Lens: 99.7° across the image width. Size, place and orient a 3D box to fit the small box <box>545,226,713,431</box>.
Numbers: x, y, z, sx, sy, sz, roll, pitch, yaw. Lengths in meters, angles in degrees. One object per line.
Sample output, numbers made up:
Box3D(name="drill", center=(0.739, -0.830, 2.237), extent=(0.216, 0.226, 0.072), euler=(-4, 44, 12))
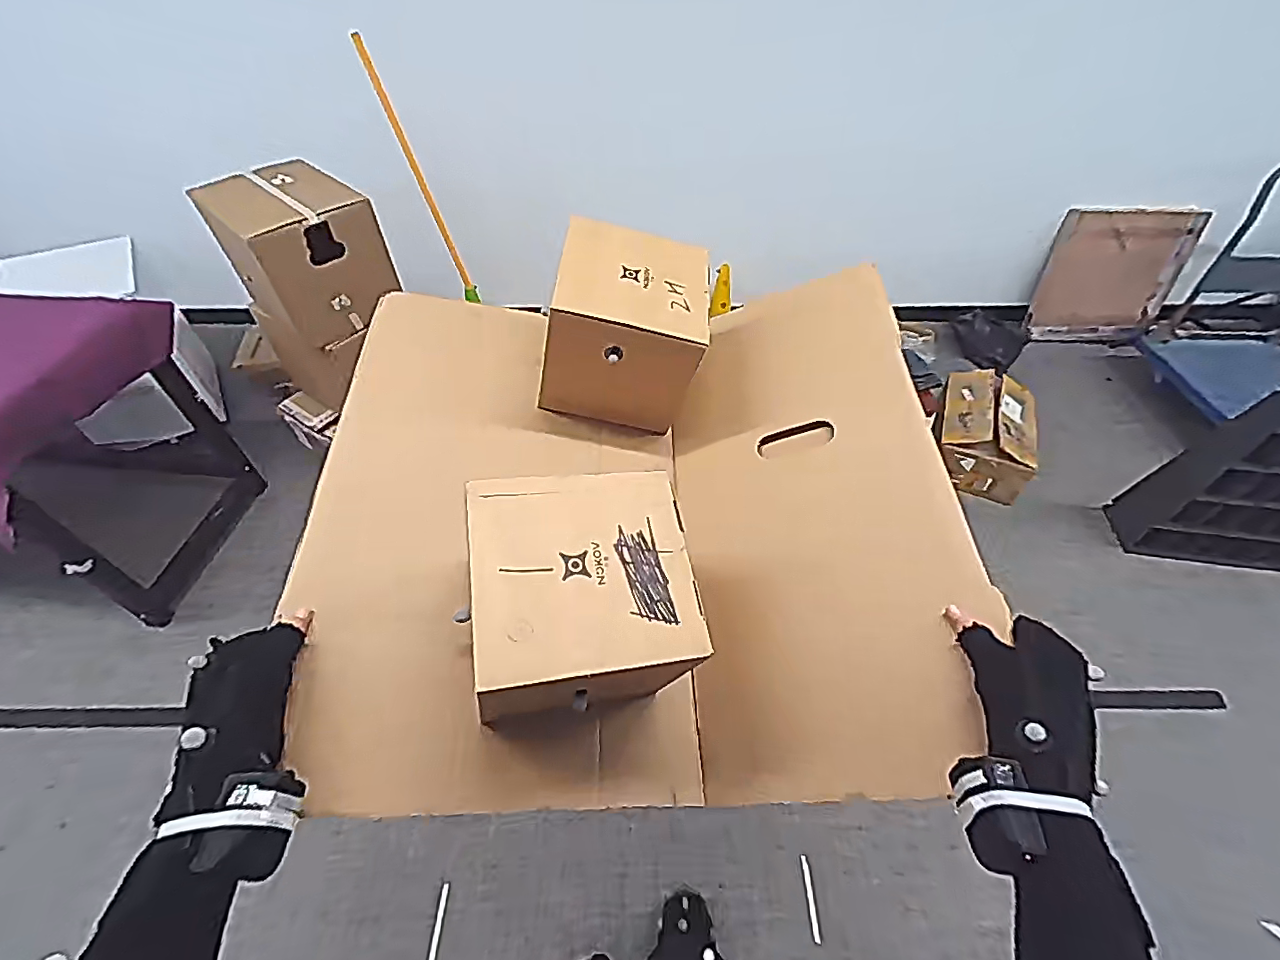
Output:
Box3D(name="small box", center=(-0.018, -0.183, 0.691), extent=(0.179, 0.176, 0.168), euler=(12, 57, -9))

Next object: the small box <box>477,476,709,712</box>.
Box3D(name="small box", center=(-0.059, 0.108, 0.503), extent=(0.179, 0.176, 0.168), euler=(-3, 61, -16))
